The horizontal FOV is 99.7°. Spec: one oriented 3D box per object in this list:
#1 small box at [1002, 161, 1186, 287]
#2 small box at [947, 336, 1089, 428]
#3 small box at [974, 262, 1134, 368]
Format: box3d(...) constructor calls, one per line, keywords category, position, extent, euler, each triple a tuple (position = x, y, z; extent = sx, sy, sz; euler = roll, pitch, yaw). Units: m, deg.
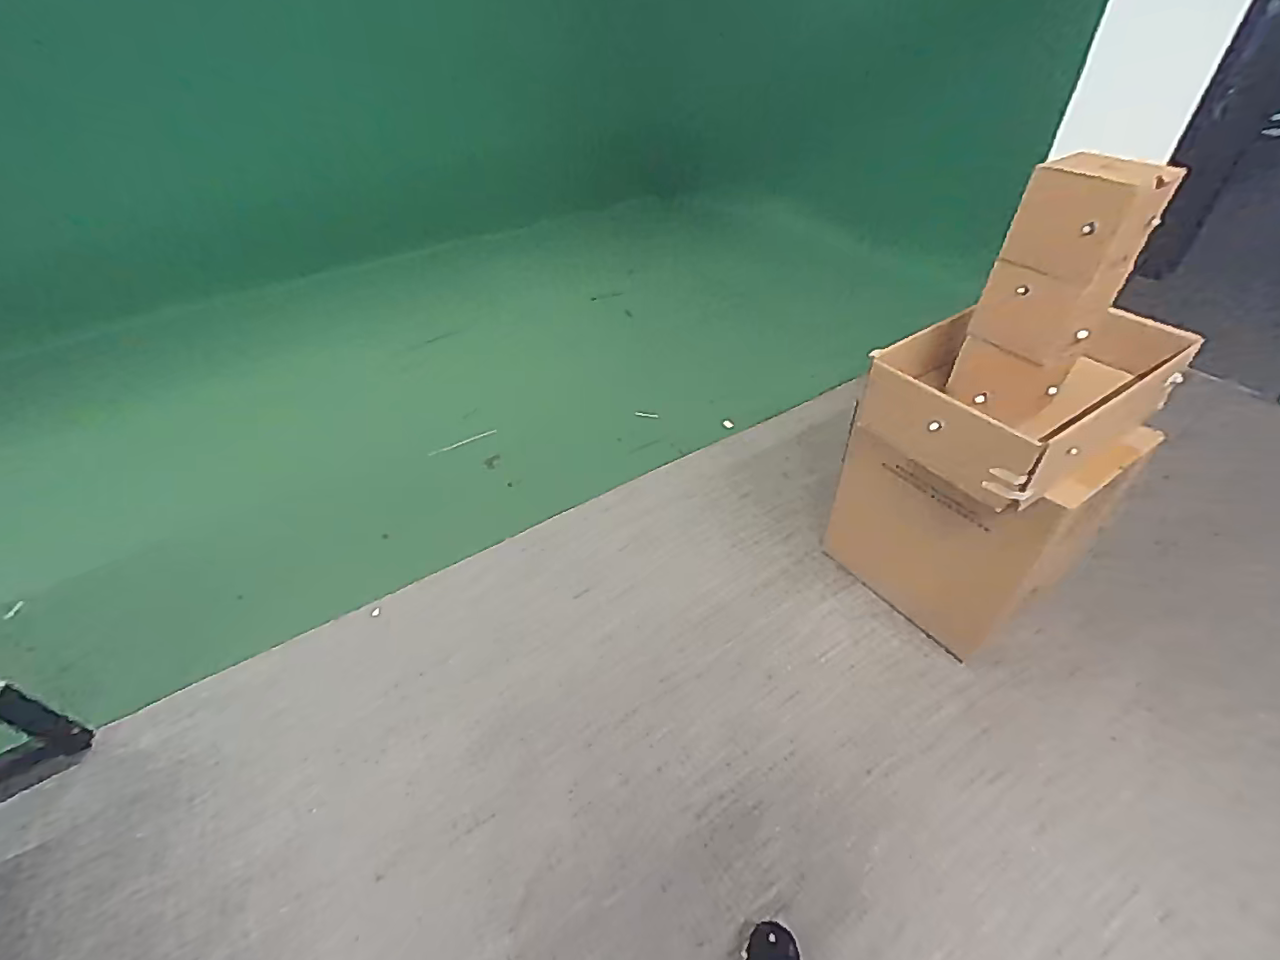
box3d(category="small box", position=(0.834, -0.476, 1.010), extent=(0.168, 0.176, 0.179), euler=(-25, 46, -23))
box3d(category="small box", position=(0.850, -0.238, 1.232), extent=(0.168, 0.176, 0.179), euler=(-24, 47, -23))
box3d(category="small box", position=(0.841, -0.356, 1.120), extent=(0.168, 0.176, 0.179), euler=(-23, 47, -20))
